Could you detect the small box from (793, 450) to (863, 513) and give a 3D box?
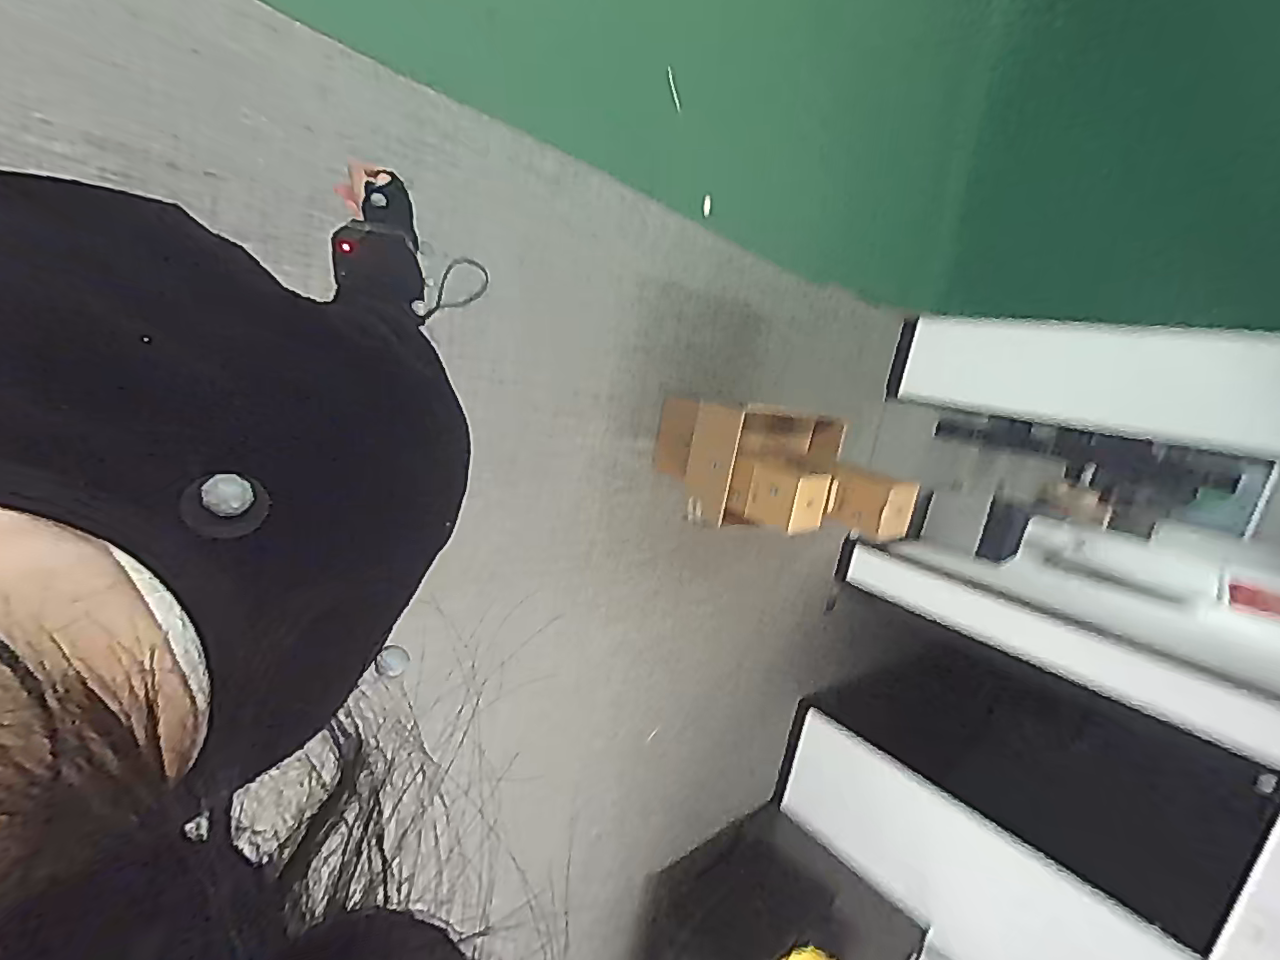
[{"bbox_3d":[0.610,0.000,1.807,0.179,0.176,0.168,-7,110,-38],"label":"small box"}]

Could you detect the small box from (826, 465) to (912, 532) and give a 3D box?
[{"bbox_3d":[0.709,0.052,1.688,0.179,0.176,0.168,-3,108,-39],"label":"small box"}]

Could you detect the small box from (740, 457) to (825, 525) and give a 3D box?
[{"bbox_3d":[0.431,0.030,1.654,0.179,0.176,0.168,-3,108,-42],"label":"small box"}]
